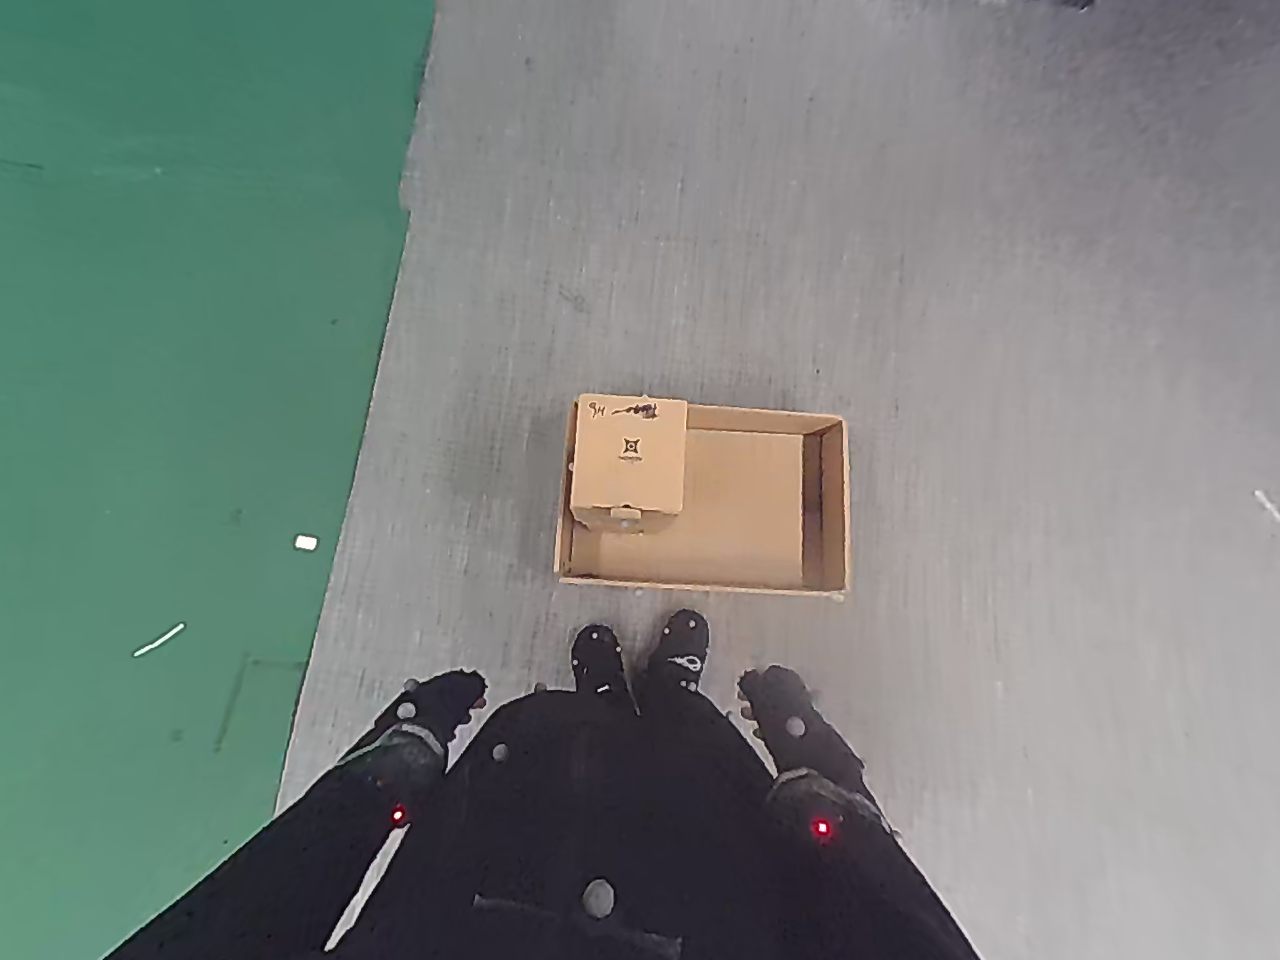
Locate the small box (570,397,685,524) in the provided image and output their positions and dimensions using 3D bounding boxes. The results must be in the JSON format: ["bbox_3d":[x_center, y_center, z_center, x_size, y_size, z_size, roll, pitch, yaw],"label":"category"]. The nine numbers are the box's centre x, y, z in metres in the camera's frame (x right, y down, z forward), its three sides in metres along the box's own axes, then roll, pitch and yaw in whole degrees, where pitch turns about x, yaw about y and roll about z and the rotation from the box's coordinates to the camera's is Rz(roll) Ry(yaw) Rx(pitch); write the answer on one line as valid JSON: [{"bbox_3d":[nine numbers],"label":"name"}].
[{"bbox_3d":[-0.019,-0.024,0.888,0.168,0.176,0.179,3,80,-2],"label":"small box"}]

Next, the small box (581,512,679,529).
[{"bbox_3d":[-0.017,0.002,1.049,0.179,0.176,0.168,4,79,-1],"label":"small box"}]
